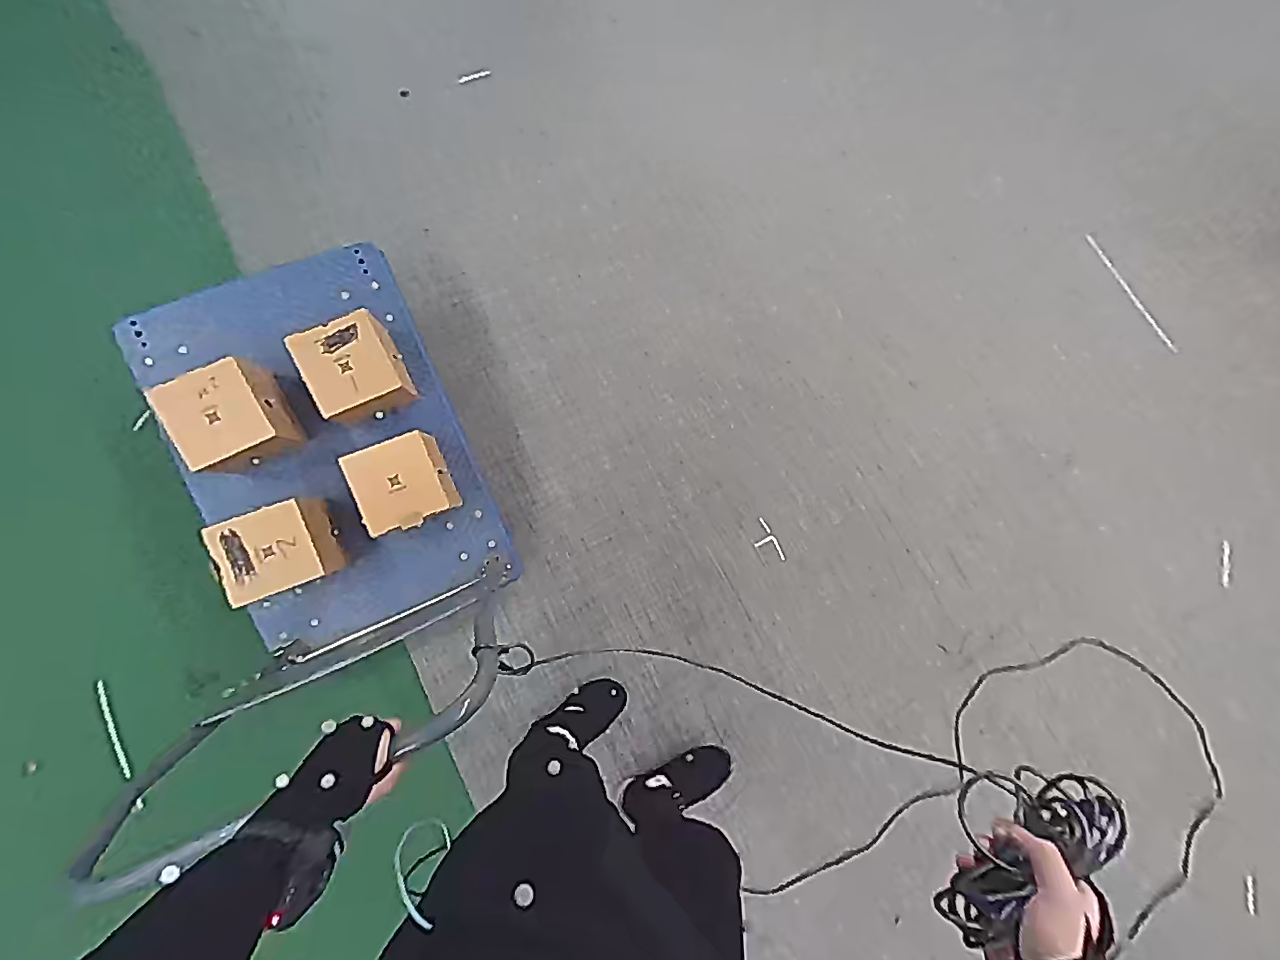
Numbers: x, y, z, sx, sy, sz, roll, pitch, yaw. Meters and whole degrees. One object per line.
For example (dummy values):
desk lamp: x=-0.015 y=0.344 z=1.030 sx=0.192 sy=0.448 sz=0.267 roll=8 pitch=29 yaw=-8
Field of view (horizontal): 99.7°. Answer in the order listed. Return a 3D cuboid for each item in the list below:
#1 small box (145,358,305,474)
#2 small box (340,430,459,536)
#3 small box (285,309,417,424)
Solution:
small box: x=-0.831 y=-0.124 z=1.106 sx=0.168 sy=0.176 sz=0.179 roll=-28 pitch=94 yaw=-11
small box: x=-0.510 y=0.007 z=1.170 sx=0.168 sy=0.176 sz=0.179 roll=-23 pitch=95 yaw=-10
small box: x=-0.603 y=-0.233 z=1.152 sx=0.168 sy=0.176 sz=0.179 roll=-26 pitch=95 yaw=-10
